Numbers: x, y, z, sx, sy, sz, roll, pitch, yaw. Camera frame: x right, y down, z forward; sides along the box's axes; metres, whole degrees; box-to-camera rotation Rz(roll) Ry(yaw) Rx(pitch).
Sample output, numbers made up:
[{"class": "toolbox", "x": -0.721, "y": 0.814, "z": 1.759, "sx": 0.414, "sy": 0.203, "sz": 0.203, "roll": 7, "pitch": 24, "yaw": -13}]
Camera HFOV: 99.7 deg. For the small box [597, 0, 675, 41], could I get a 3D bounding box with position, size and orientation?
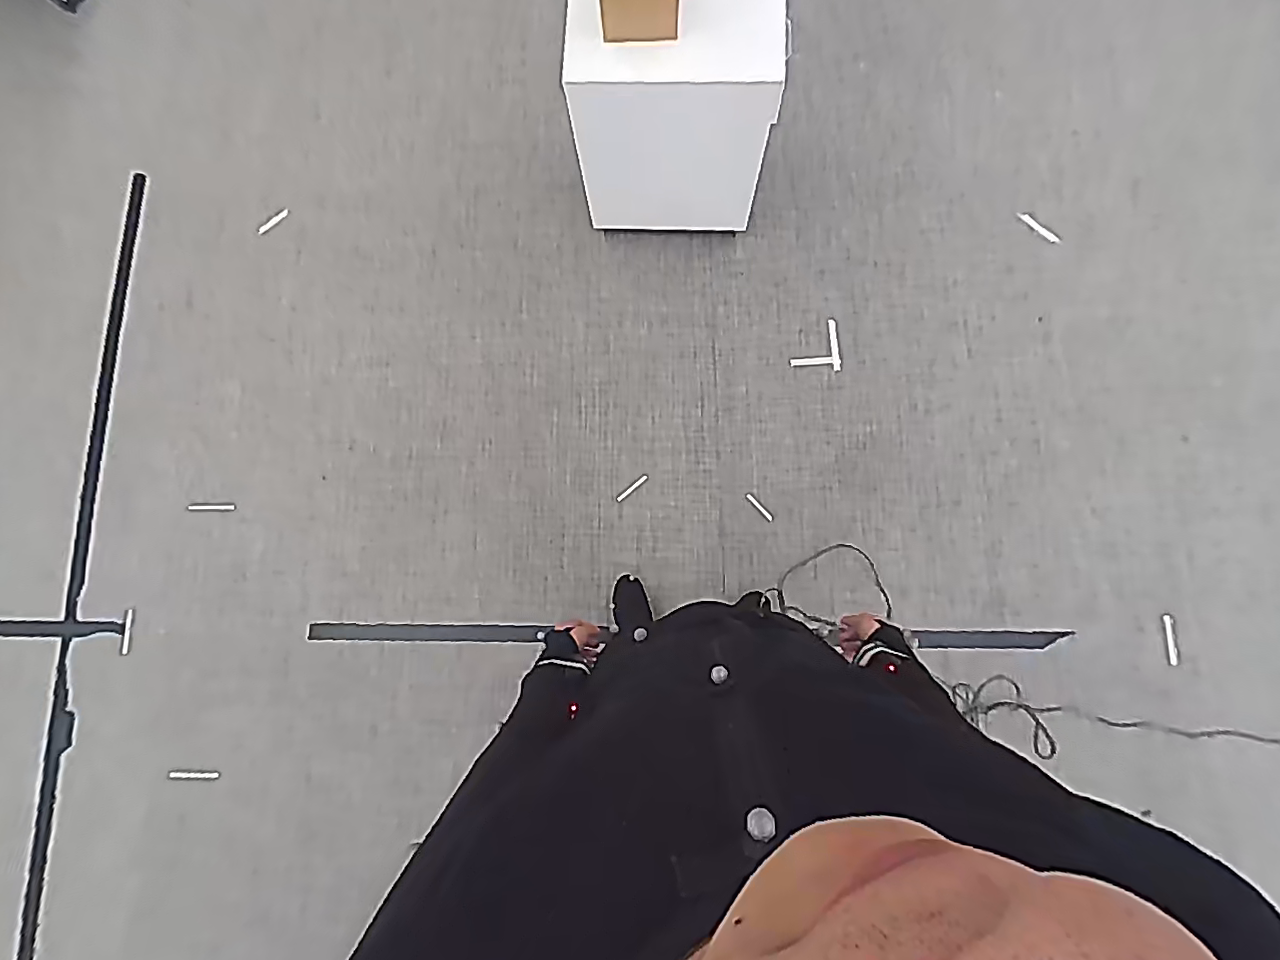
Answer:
[{"class": "small box", "x": -0.010, "y": -1.121, "z": 1.201, "sx": 0.179, "sy": 0.176, "sz": 0.168, "roll": -1, "pitch": 81, "yaw": 1}]
